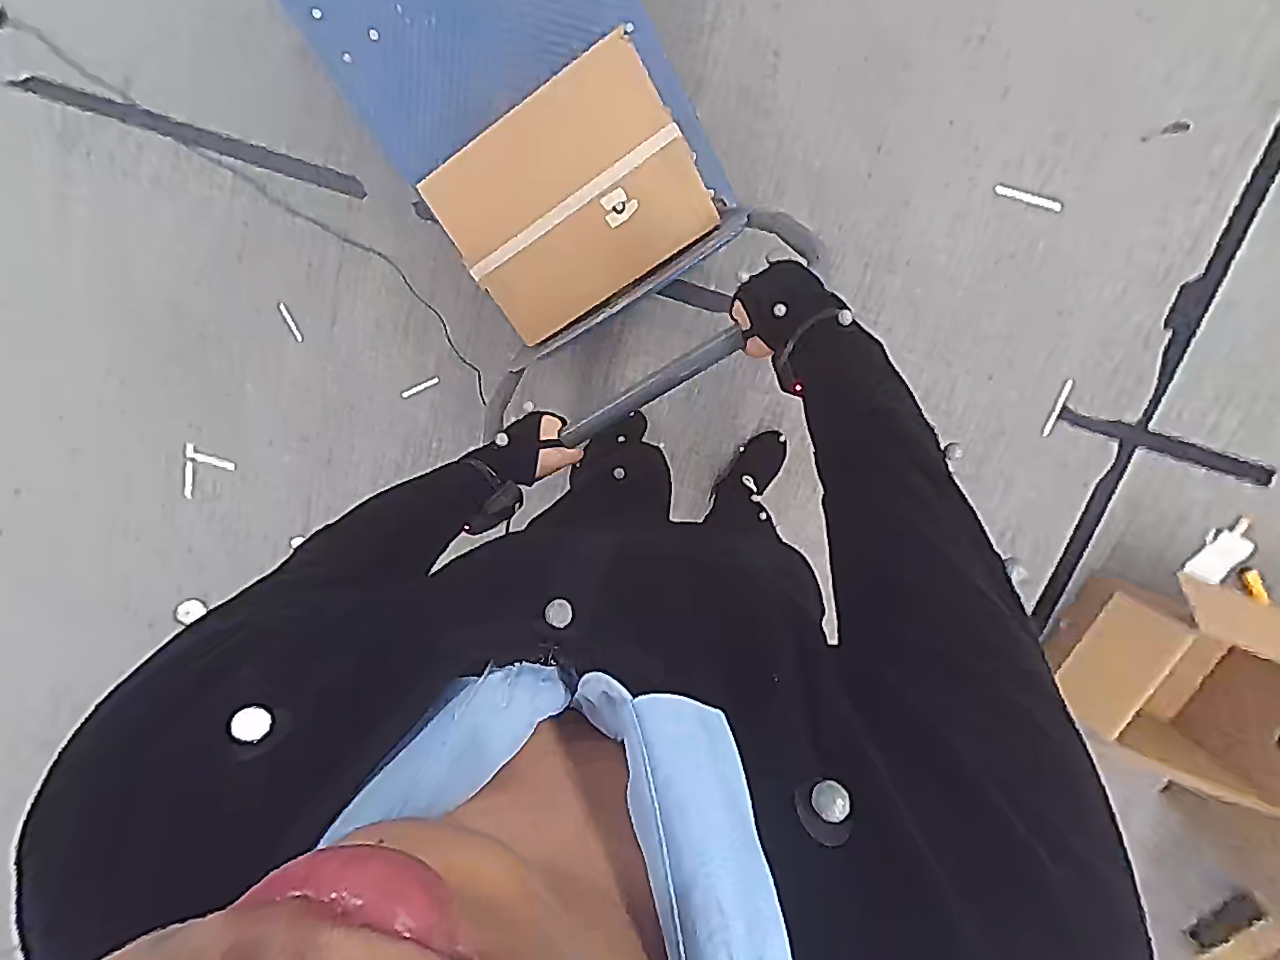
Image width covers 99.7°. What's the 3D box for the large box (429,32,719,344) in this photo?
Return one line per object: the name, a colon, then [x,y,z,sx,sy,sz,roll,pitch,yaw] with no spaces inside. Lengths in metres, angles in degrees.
large box: [-0.113,-0.524,1.047,0.408,0.320,0.320,-30,112,12]
